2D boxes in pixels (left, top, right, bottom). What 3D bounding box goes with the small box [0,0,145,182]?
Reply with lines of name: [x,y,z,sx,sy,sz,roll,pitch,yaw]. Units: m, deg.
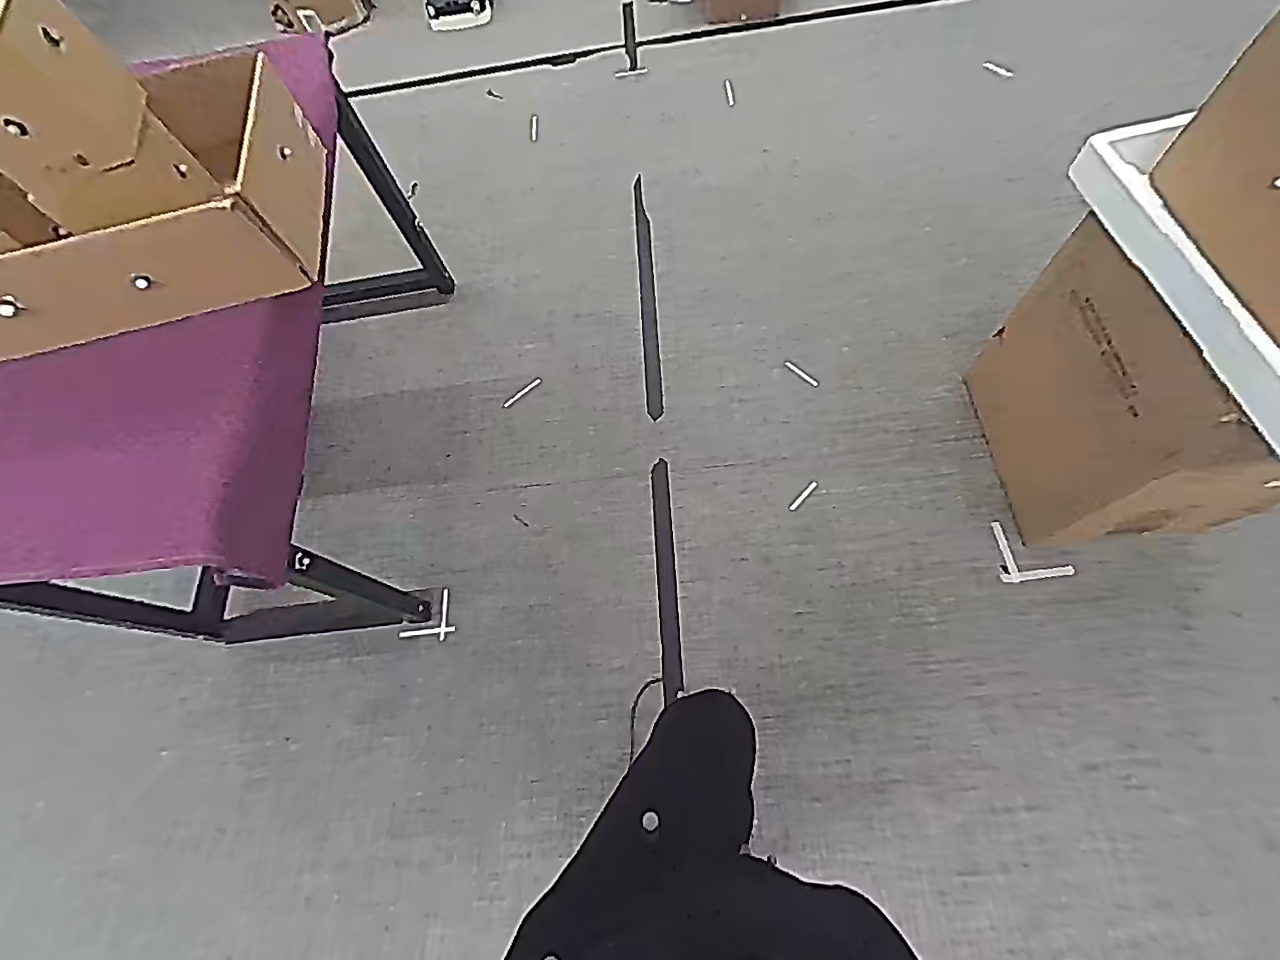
small box: [-0.848,-0.548,0.753,0.168,0.176,0.179,-18,65,1]

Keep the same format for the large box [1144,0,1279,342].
large box: [1.046,-0.448,0.736,0.320,0.320,0.408,-9,64,2]
